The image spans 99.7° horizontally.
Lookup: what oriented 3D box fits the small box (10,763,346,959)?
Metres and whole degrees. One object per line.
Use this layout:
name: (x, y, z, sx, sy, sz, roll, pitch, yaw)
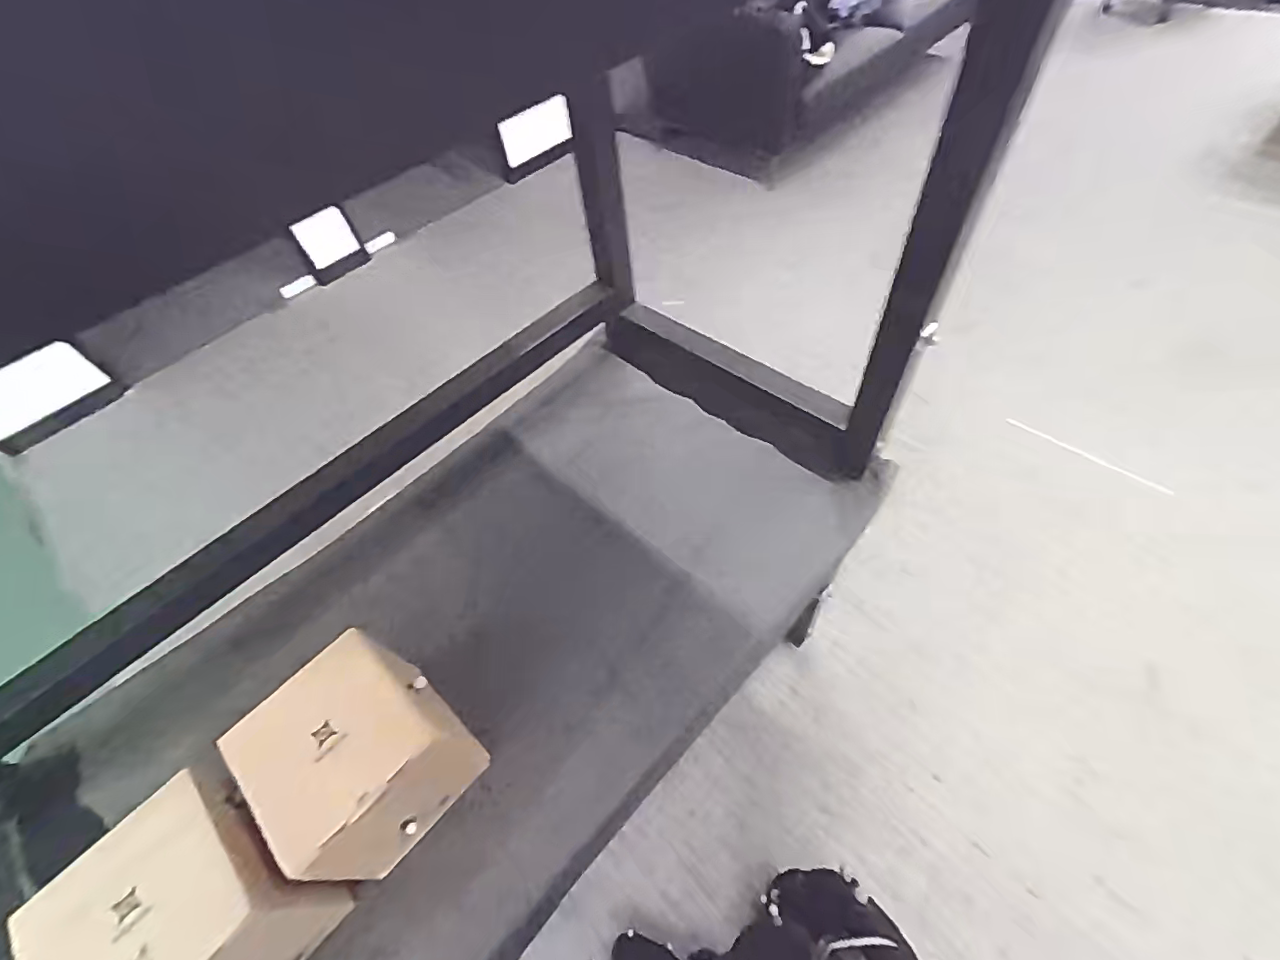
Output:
small box: (-0.444, 0.428, 0.544, 0.179, 0.176, 0.168, 34, 65, 27)
